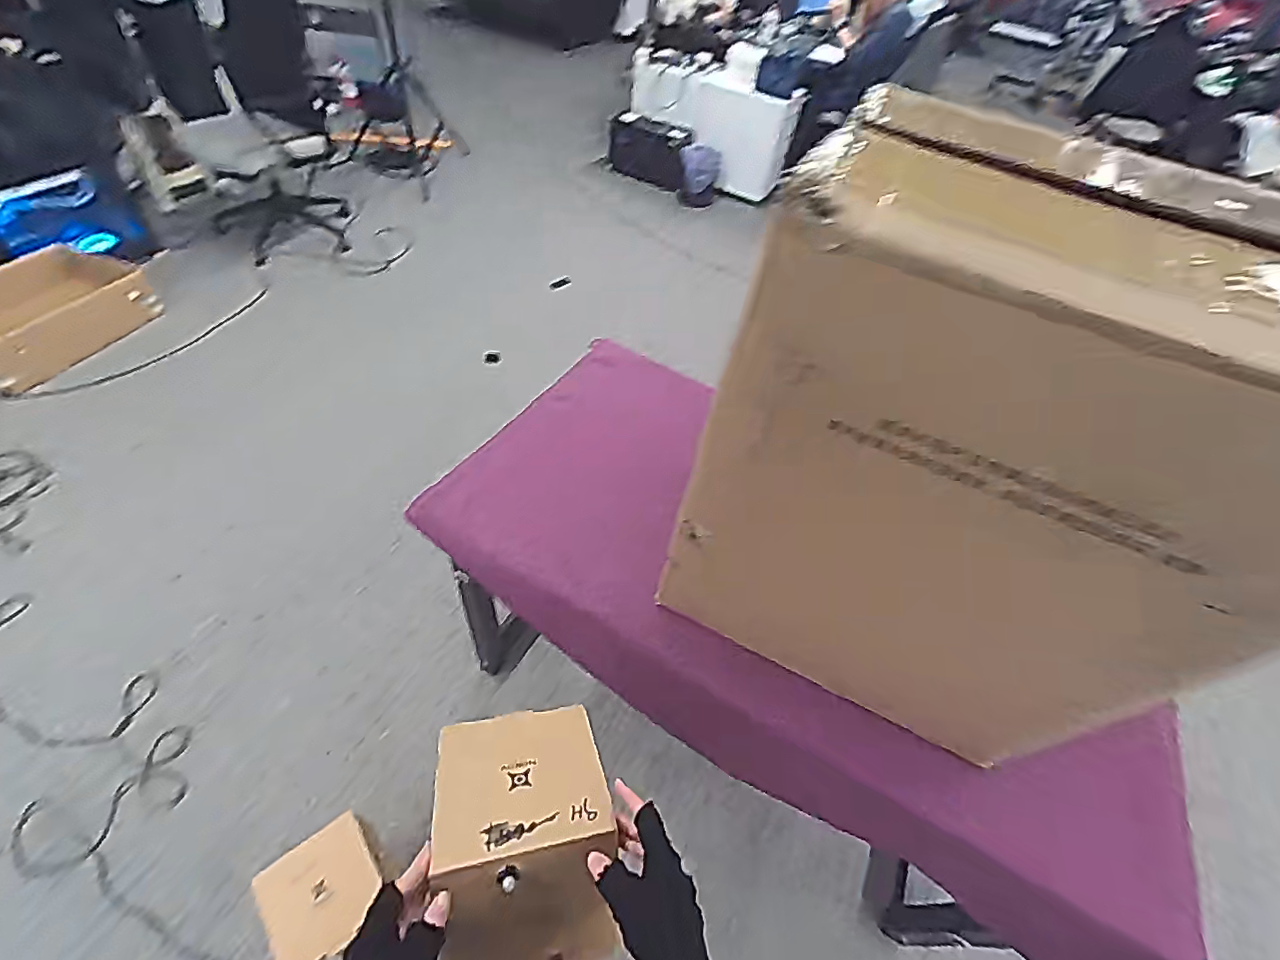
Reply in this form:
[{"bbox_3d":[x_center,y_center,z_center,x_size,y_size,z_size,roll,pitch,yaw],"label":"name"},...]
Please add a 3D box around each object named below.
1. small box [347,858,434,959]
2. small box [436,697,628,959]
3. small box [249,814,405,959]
[{"bbox_3d":[-0.535,0.855,1.058,0.179,0.176,0.168,28,51,15],"label":"small box"},{"bbox_3d":[-0.115,0.361,0.563,0.168,0.176,0.179,-3,17,-16],"label":"small box"},{"bbox_3d":[-0.537,0.733,0.948,0.168,0.176,0.179,-29,59,-30],"label":"small box"}]
